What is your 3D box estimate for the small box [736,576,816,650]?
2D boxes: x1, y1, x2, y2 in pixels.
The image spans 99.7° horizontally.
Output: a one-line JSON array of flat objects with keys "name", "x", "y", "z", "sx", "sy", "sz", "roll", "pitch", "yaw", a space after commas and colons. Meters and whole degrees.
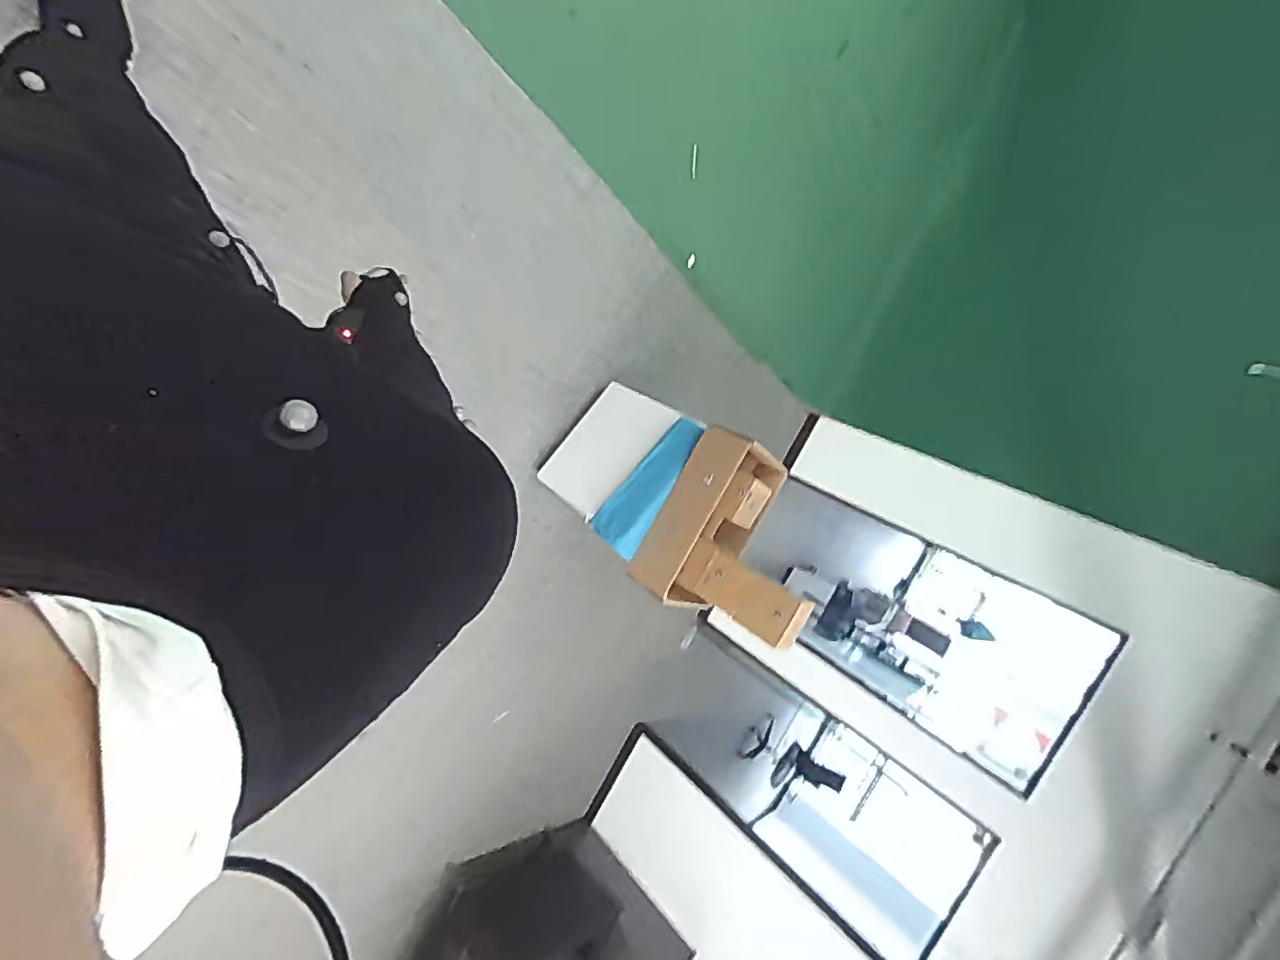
[{"name": "small box", "x": 0.442, "y": 0.433, "z": 1.766, "sx": 0.168, "sy": 0.176, "sz": 0.179, "roll": 27, "pitch": 94, "yaw": -55}]

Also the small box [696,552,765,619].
[{"name": "small box", "x": 0.325, "y": 0.364, "z": 1.860, "sx": 0.179, "sy": 0.176, "sz": 0.168, "roll": 27, "pitch": 94, "yaw": -55}]
